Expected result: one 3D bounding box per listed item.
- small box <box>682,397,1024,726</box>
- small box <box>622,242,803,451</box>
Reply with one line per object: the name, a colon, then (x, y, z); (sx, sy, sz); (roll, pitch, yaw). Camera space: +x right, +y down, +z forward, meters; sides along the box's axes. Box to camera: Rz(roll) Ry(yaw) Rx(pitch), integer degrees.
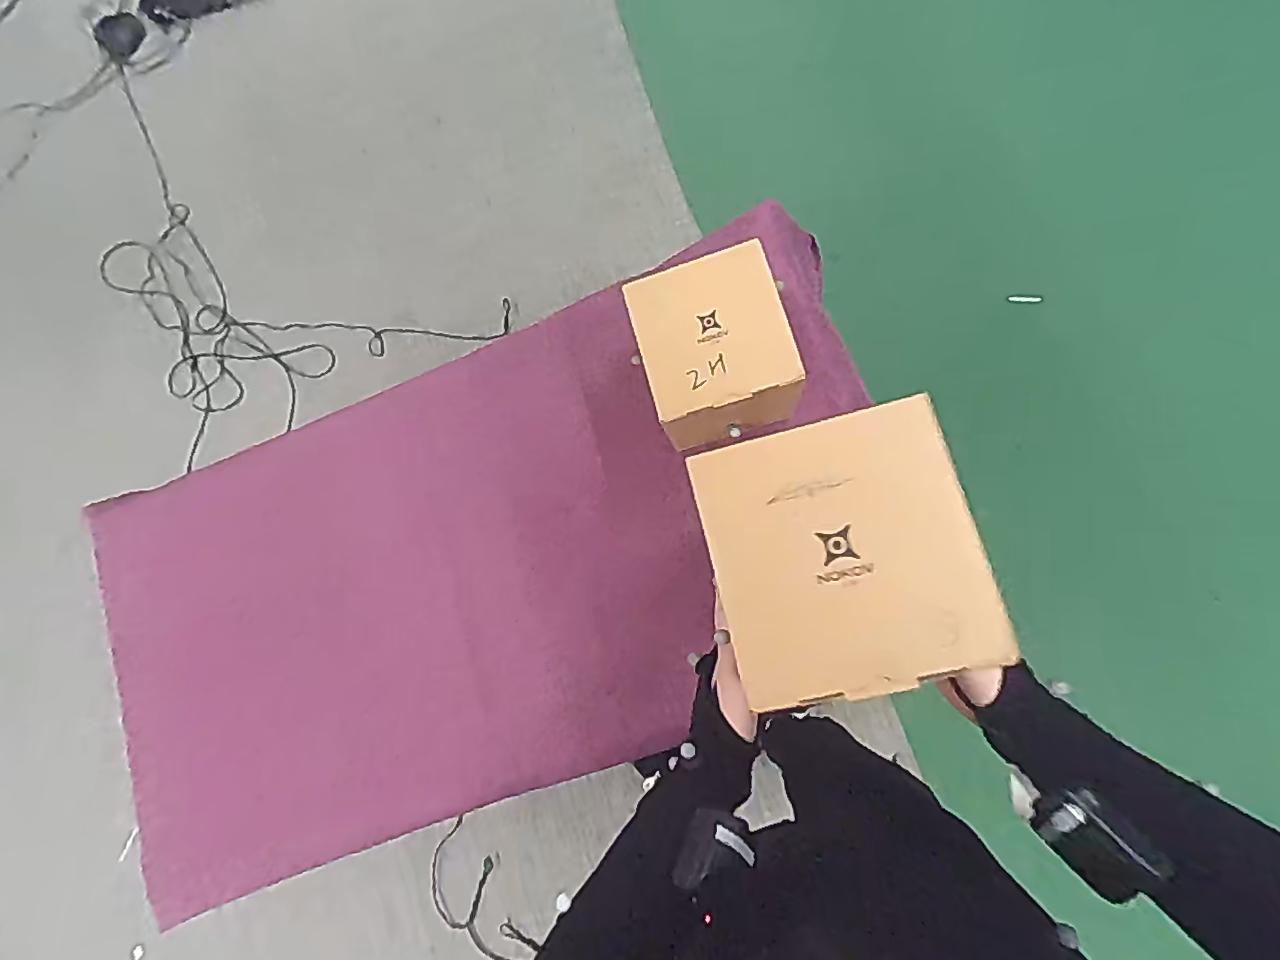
small box: (0.139, 0.061, 0.410); (0.168, 0.176, 0.179); (-15, 78, 9)
small box: (0.090, -0.152, 0.676); (0.168, 0.176, 0.179); (-17, 80, 9)
